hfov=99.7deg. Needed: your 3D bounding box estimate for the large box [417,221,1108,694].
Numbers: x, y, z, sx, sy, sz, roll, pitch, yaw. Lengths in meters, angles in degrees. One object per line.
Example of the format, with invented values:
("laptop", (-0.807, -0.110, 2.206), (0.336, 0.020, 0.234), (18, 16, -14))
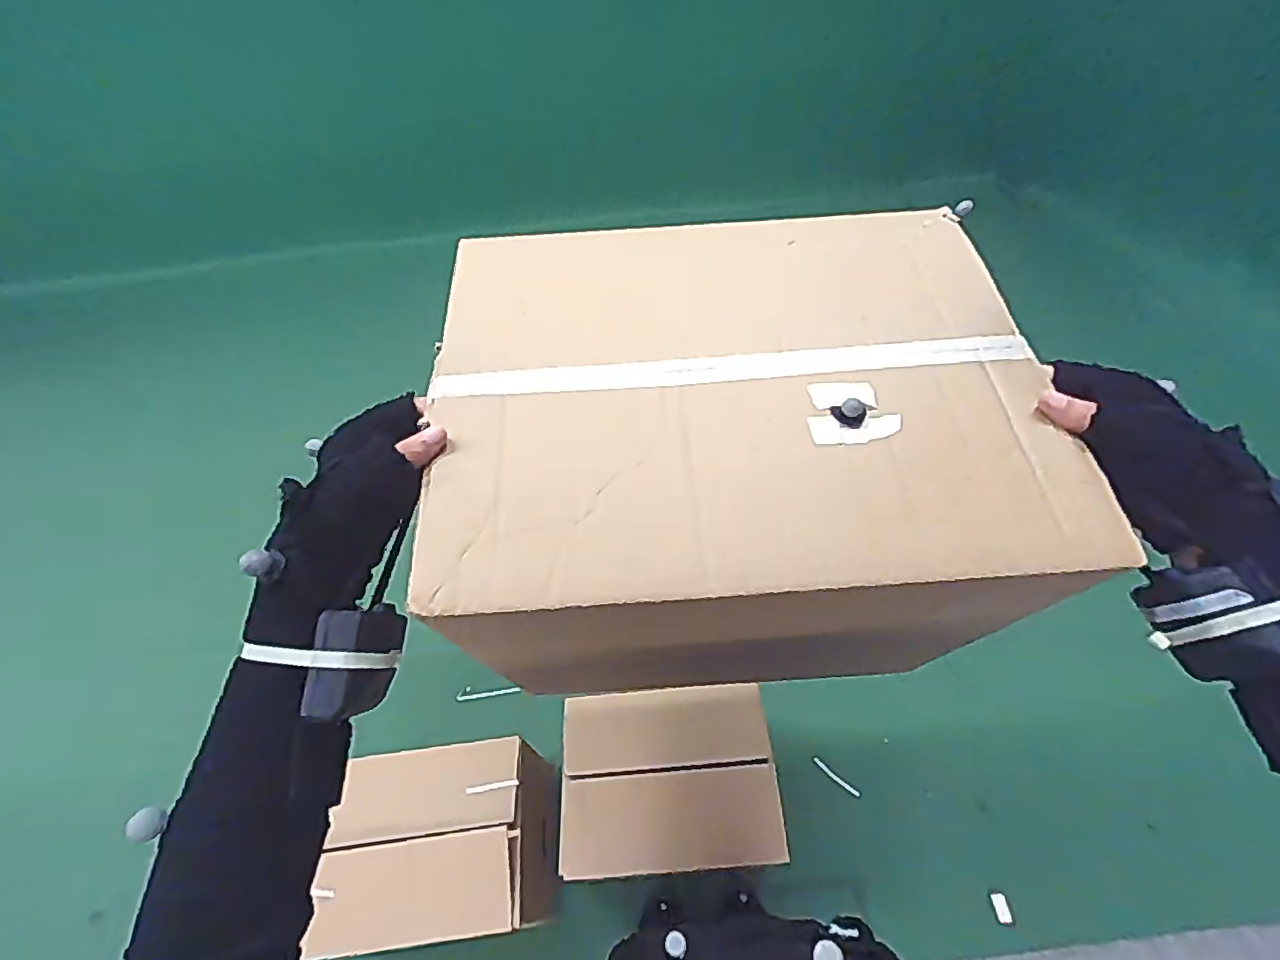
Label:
("large box", (0.061, 0.000, 0.504), (0.408, 0.320, 0.320), (-3, 61, -1))
